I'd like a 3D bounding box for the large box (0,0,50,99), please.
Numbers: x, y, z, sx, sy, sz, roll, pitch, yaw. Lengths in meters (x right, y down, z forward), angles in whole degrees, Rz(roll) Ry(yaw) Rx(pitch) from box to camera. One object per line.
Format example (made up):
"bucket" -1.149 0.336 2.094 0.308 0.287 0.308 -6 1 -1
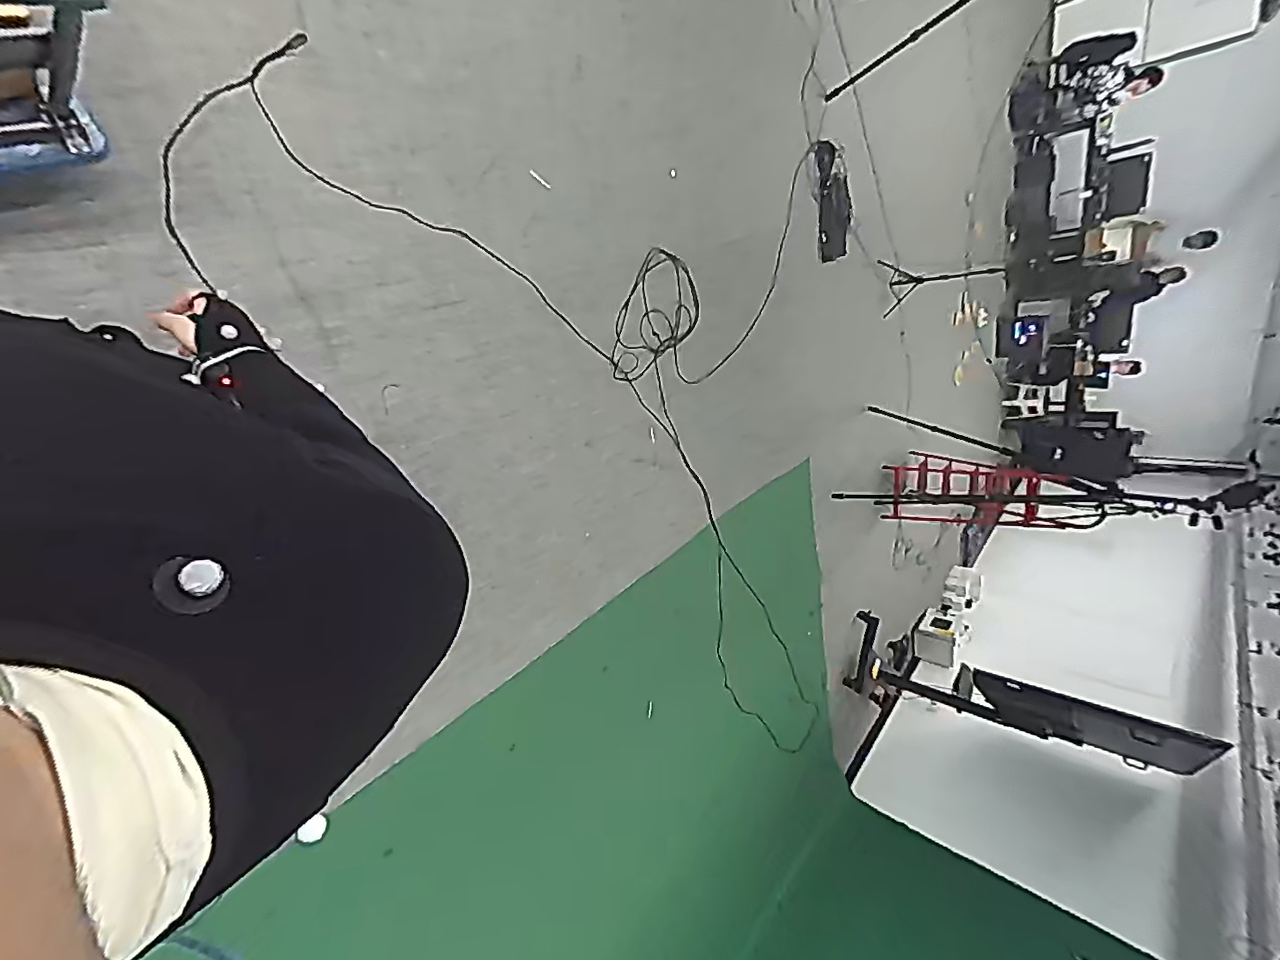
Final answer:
"large box" -1.103 -0.756 0.690 0.320 0.320 0.408 -39 122 -35
